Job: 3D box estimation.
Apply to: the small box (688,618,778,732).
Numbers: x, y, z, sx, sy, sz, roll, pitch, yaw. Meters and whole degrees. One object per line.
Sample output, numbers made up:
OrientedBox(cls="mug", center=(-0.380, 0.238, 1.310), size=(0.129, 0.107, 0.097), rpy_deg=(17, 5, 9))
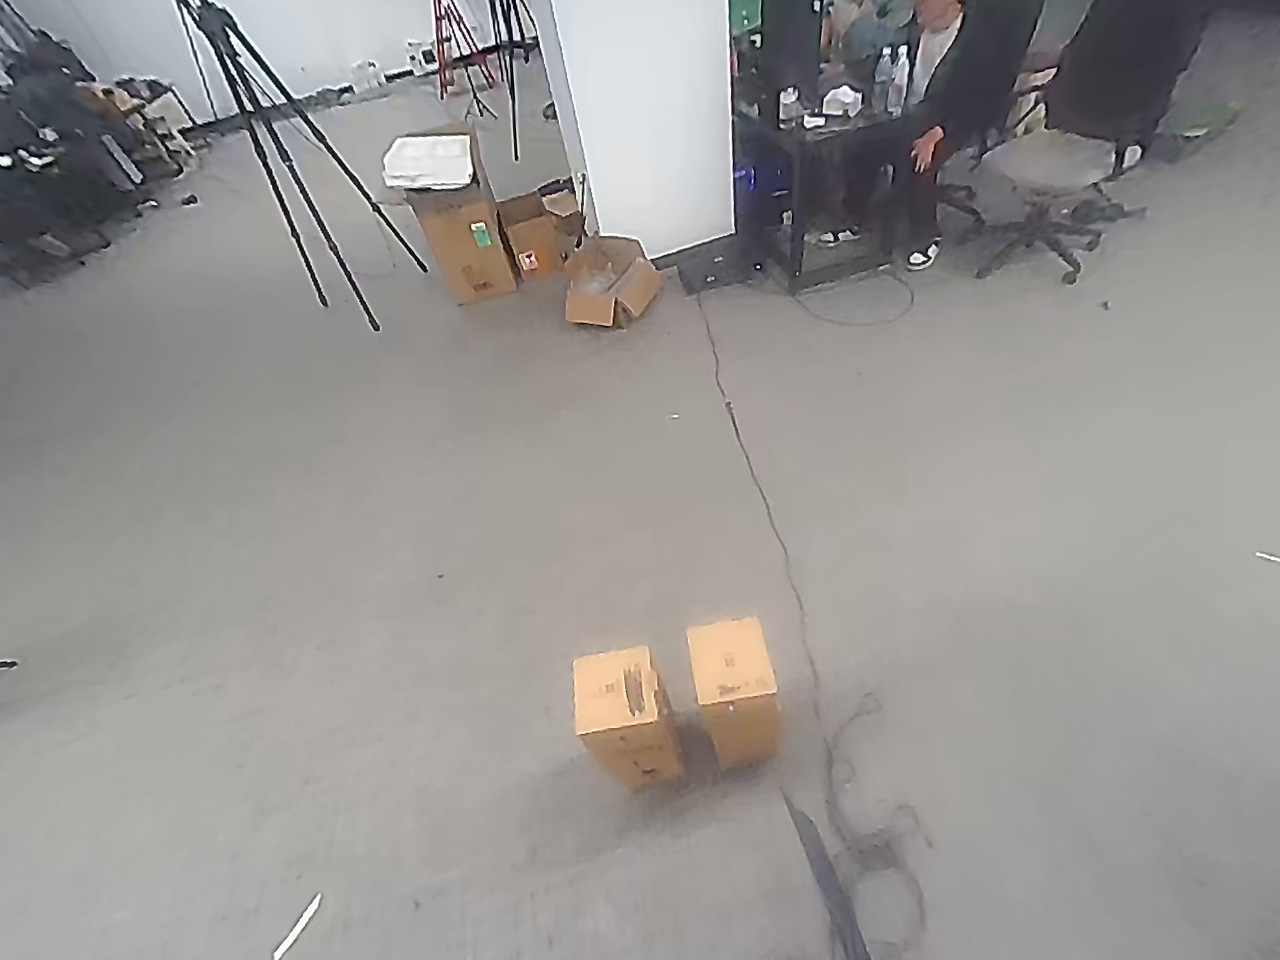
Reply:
OrientedBox(cls="small box", center=(0.206, 0.439, 1.213), size=(0.168, 0.176, 0.179), rpy_deg=(-11, 46, 4))

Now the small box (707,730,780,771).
OrientedBox(cls="small box", center=(0.262, 0.651, 1.455), size=(0.168, 0.176, 0.179), rpy_deg=(-17, 48, -2))

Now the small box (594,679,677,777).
OrientedBox(cls="small box", center=(-0.008, 0.611, 1.325), size=(0.179, 0.176, 0.168), rpy_deg=(-12, 47, 4))

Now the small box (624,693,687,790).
OrientedBox(cls="small box", center=(0.022, 0.706, 1.456), size=(0.168, 0.176, 0.179), rpy_deg=(-14, 48, 1))

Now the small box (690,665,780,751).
OrientedBox(cls="small box", center=(0.236, 0.544, 1.335), size=(0.179, 0.176, 0.168), rpy_deg=(-16, 47, -1))
